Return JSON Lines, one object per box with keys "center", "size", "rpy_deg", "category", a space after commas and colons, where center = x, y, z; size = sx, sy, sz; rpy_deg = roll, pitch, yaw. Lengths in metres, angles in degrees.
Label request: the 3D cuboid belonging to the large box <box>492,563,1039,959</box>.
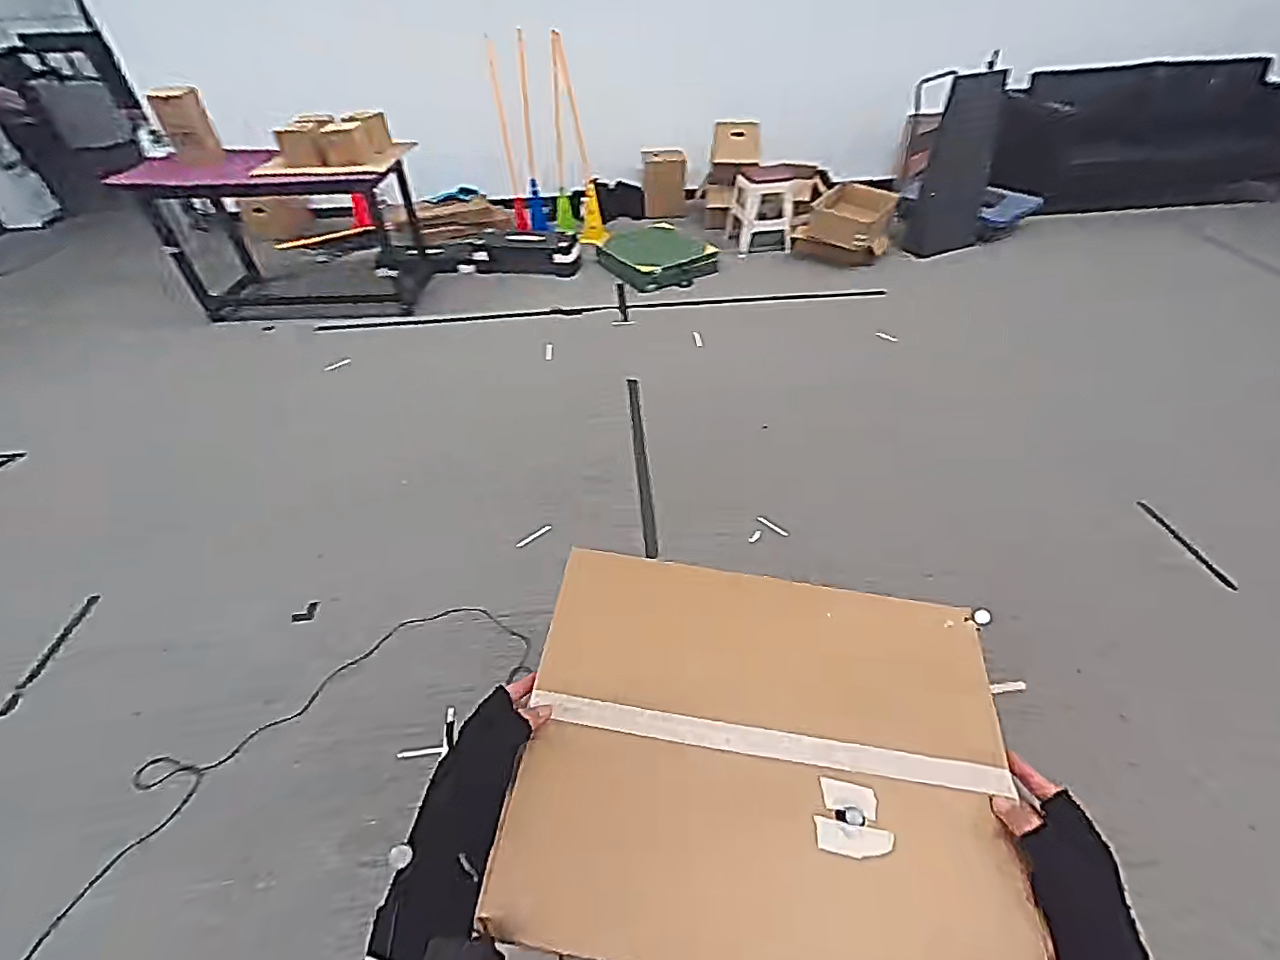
{"center": [0.098, 0.319, 0.586], "size": [0.408, 0.320, 0.320], "rpy_deg": [8, 54, 3], "category": "large box"}
